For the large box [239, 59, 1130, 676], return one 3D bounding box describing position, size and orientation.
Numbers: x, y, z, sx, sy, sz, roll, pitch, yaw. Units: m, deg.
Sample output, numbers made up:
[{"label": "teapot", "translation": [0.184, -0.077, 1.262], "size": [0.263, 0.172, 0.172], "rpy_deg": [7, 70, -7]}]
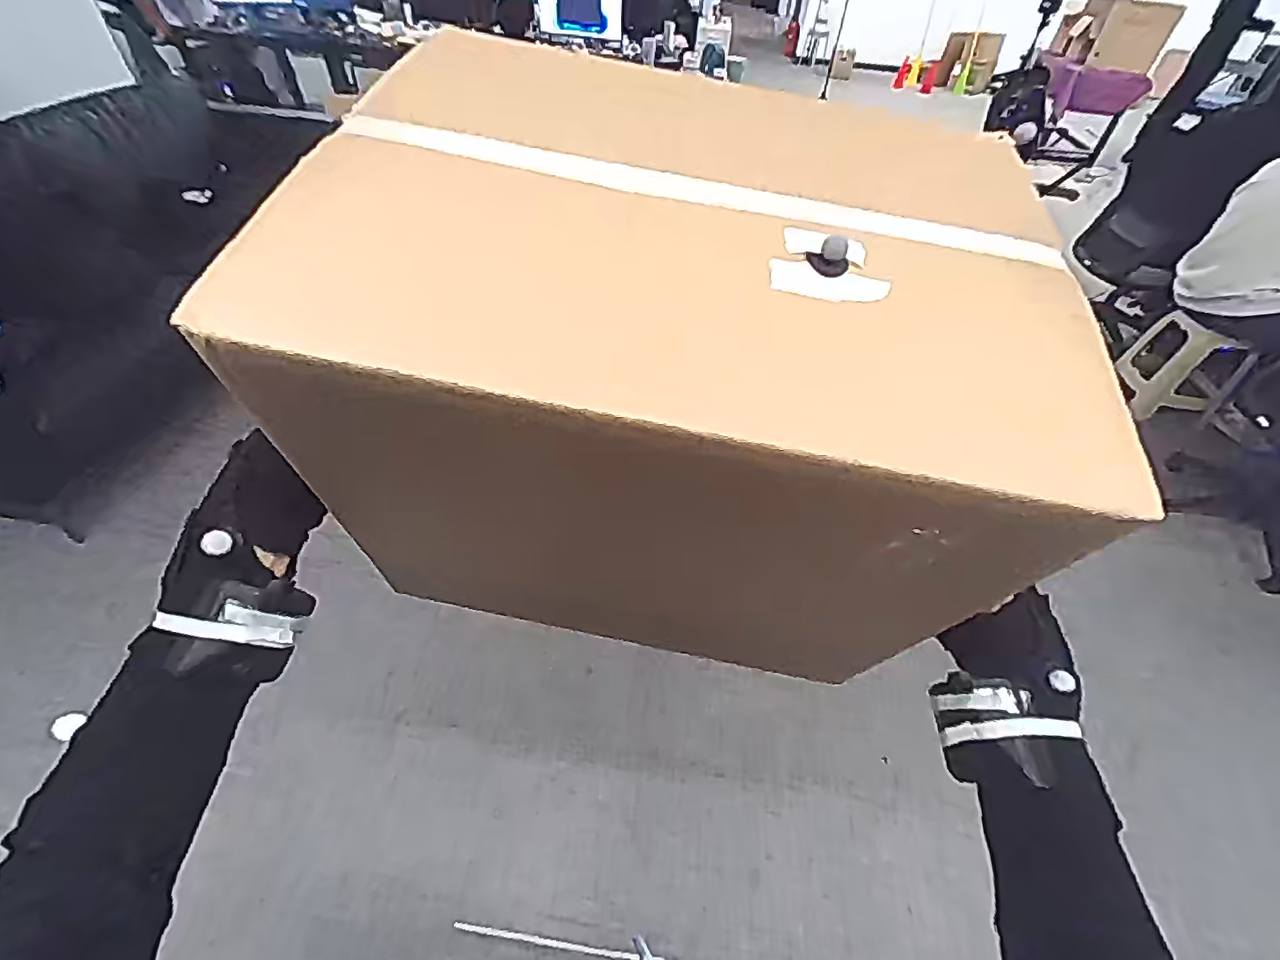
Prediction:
[{"label": "large box", "translation": [0.026, -0.067, 0.437], "size": [0.408, 0.320, 0.320], "rpy_deg": [12, 57, 1]}]
